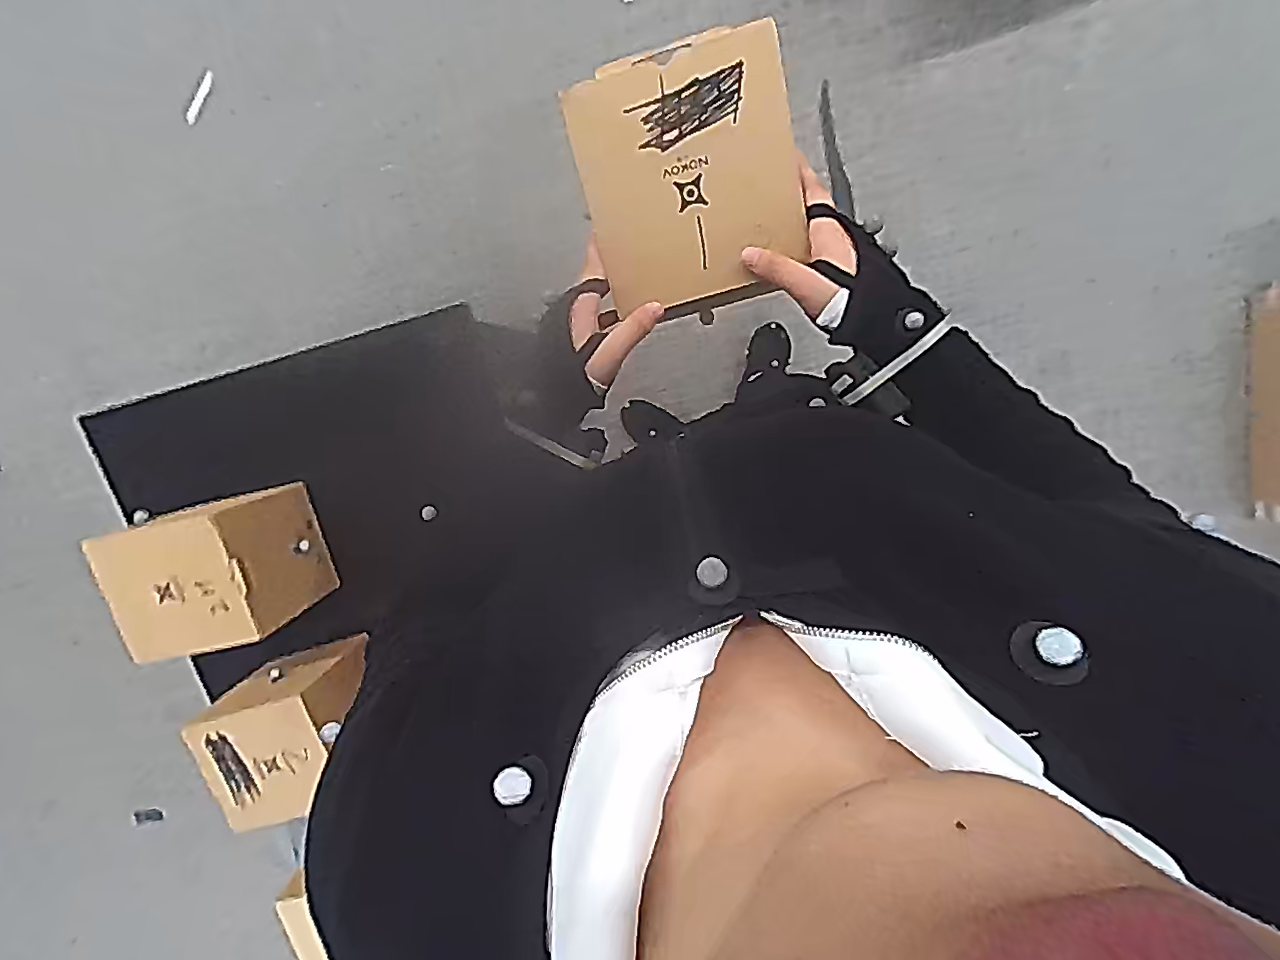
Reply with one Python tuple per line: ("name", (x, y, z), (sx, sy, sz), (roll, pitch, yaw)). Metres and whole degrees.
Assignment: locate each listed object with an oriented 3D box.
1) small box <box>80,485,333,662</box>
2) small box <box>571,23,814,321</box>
("small box", (-0.562, 0.116, 0.727), (0.179, 0.176, 0.168), (-13, 102, 5))
("small box", (0.049, -0.257, 0.502), (0.168, 0.176, 0.179), (-12, 102, 9))
